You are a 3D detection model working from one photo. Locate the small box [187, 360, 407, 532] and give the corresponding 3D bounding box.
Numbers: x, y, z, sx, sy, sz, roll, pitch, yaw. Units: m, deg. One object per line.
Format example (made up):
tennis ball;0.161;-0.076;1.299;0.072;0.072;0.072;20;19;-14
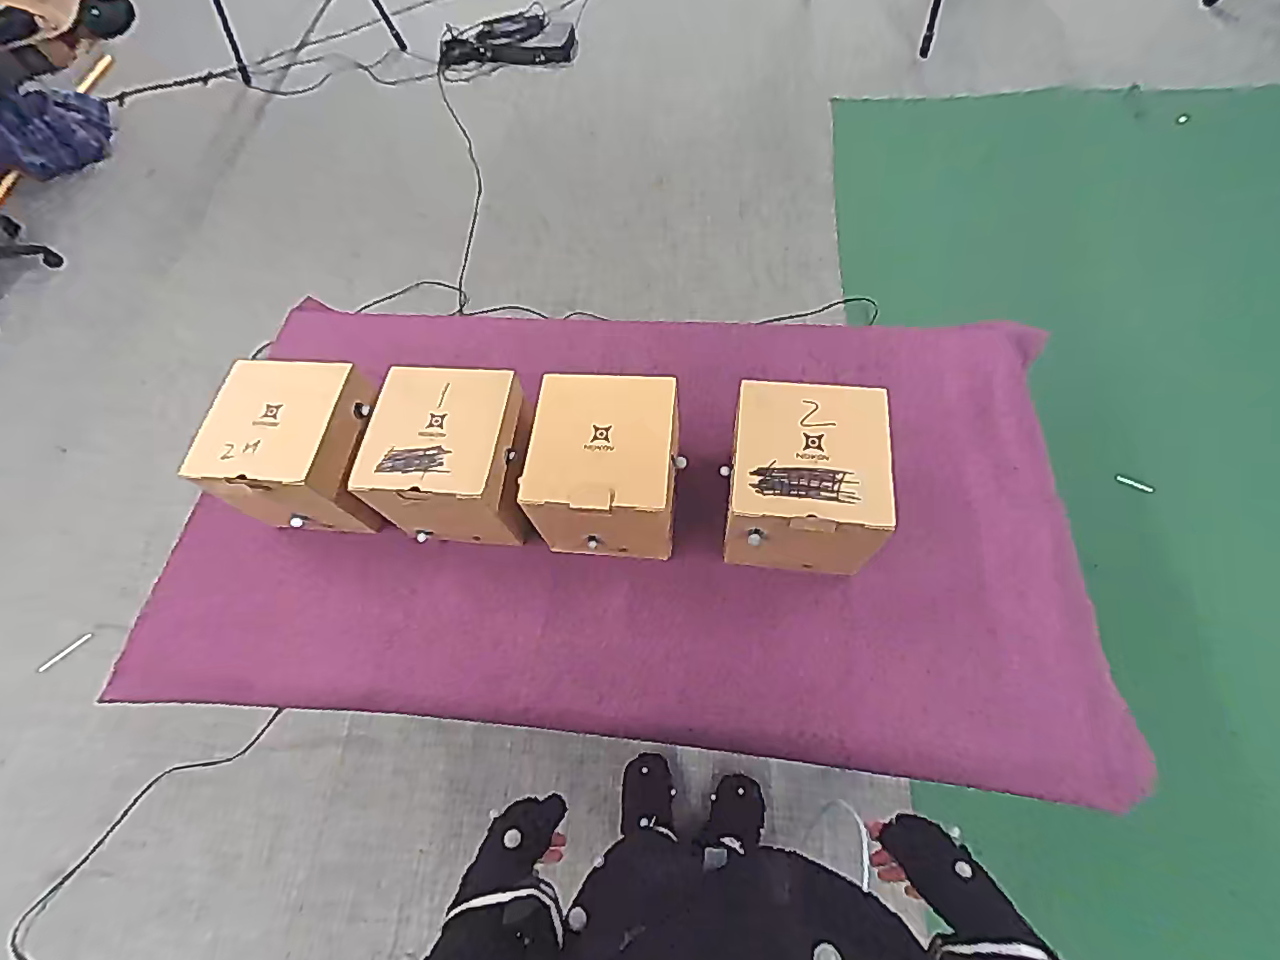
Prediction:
small box;-0.451;-0.043;0.748;0.168;0.176;0.179;3;65;7
